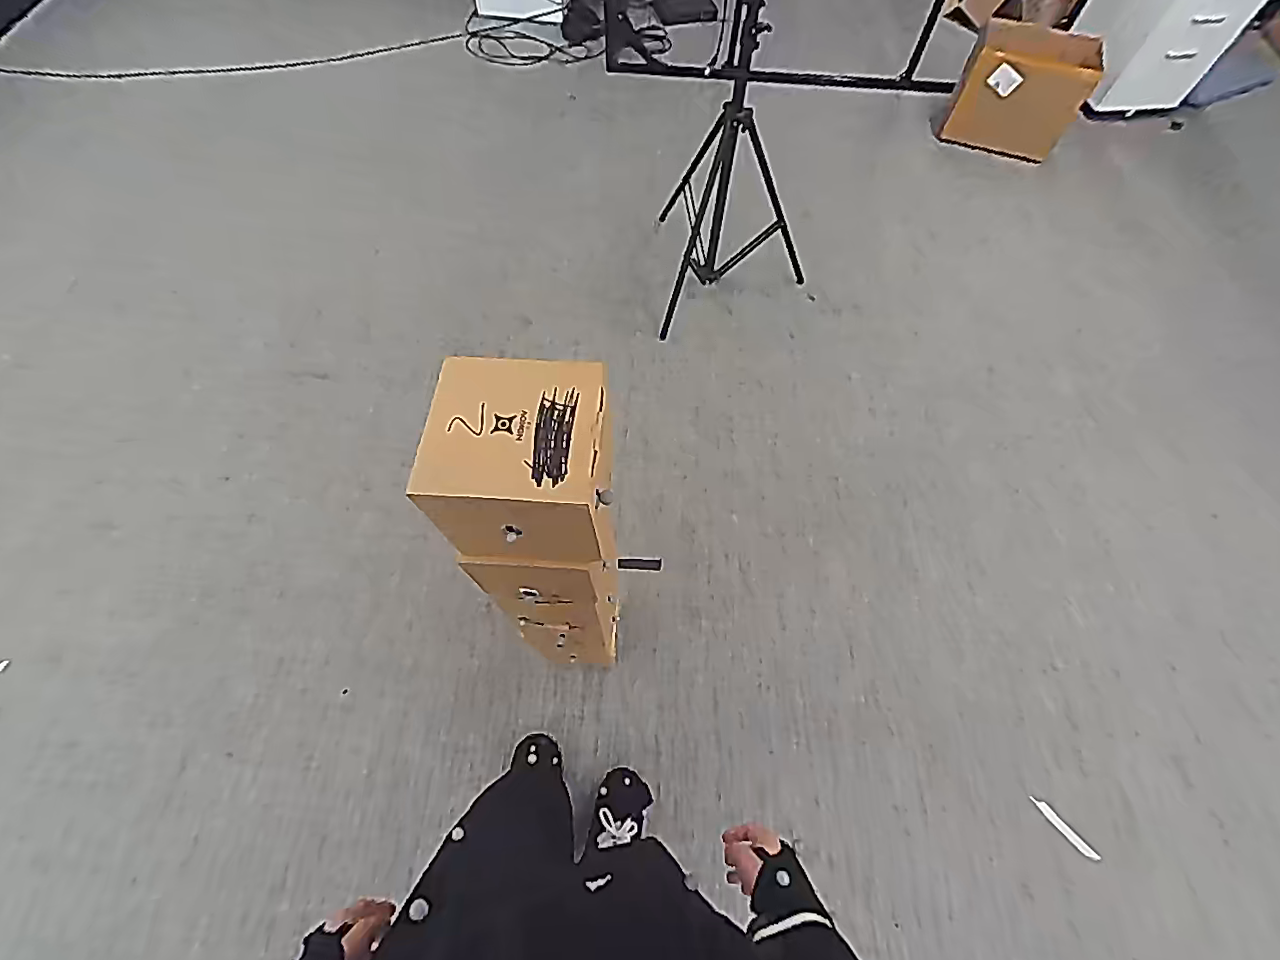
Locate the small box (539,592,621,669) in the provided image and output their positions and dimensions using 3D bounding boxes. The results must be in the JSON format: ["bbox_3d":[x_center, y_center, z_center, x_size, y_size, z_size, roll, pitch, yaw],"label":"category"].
[{"bbox_3d":[-0.140,0.367,1.331,0.179,0.176,0.168,4,63,1],"label":"small box"}]

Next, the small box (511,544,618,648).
[{"bbox_3d":[-0.134,0.219,1.039,0.168,0.176,0.179,6,64,2],"label":"small box"}]

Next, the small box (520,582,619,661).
[{"bbox_3d":[-0.145,0.295,1.183,0.179,0.176,0.168,6,64,3],"label":"small box"}]

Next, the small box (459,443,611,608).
[{"bbox_3d":[-0.130,0.068,0.750,0.168,0.176,0.179,3,64,2],"label":"small box"}]

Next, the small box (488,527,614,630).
[{"bbox_3d":[-0.135,0.142,0.894,0.168,0.176,0.179,5,62,2],"label":"small box"}]
